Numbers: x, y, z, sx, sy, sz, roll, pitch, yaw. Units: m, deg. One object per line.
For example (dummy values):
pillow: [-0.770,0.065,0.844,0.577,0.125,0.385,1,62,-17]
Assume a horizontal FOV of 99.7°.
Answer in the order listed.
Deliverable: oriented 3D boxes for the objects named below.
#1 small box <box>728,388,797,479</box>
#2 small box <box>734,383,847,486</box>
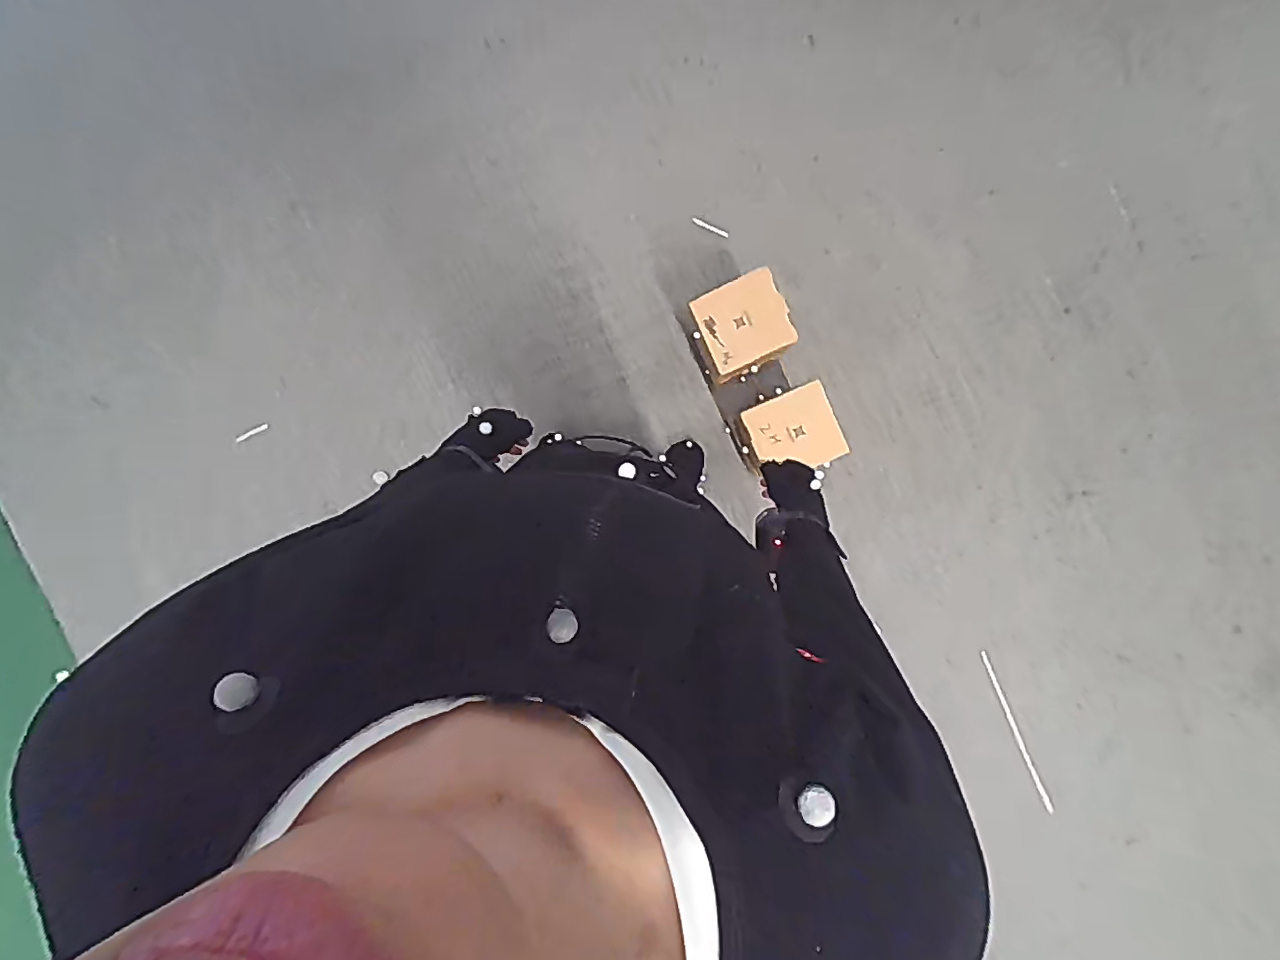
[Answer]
small box: [0.327,-0.114,1.350,0.179,0.176,0.168,-24,93,6]
small box: [0.320,-0.100,1.186,0.179,0.176,0.168,-24,92,6]
